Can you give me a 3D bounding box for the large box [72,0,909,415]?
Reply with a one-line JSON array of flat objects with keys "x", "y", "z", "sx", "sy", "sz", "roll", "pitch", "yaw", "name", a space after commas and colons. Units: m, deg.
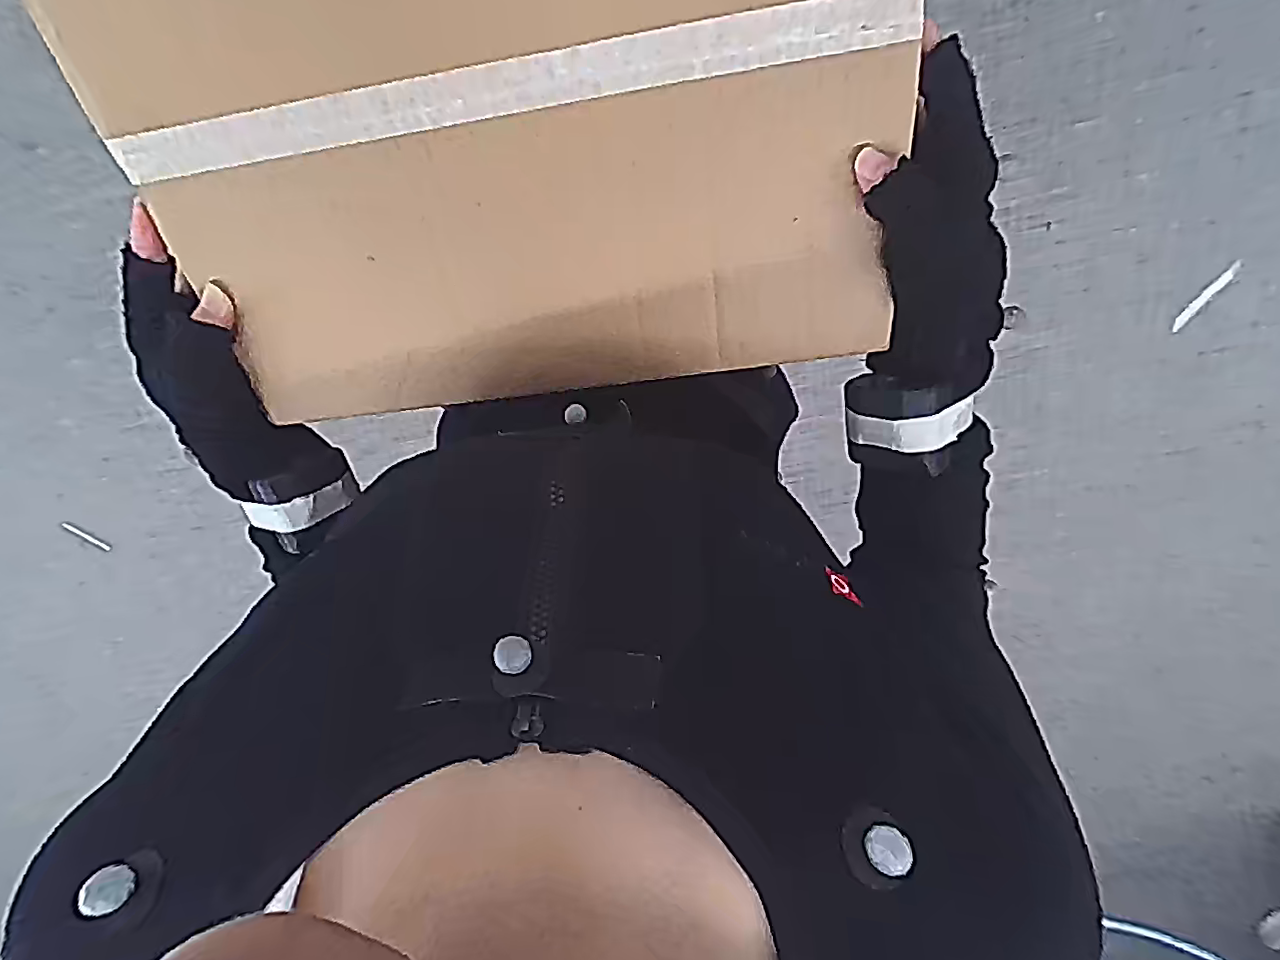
[{"x": -0.065, "y": -0.273, "z": 0.402, "sx": 0.408, "sy": 0.320, "sz": 0.320, "roll": -6, "pitch": 123, "yaw": 6, "name": "large box"}]
